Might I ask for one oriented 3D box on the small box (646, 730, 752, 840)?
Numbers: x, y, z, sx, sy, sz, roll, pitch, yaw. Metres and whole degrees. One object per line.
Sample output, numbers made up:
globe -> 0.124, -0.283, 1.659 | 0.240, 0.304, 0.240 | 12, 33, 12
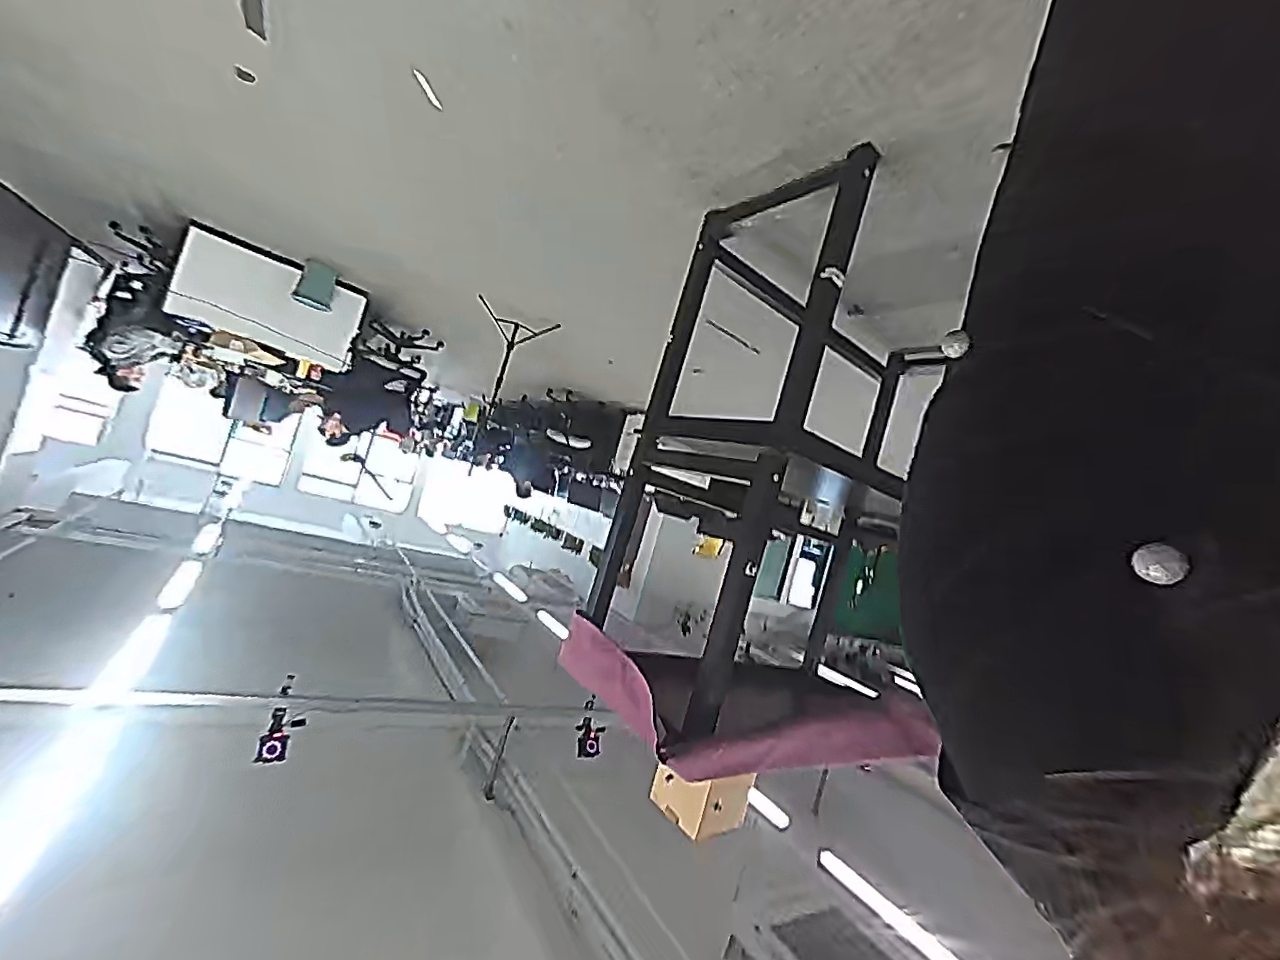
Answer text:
small box -> 0.148, 0.737, 1.332 | 0.179, 0.176, 0.168 | 17, 179, -40
